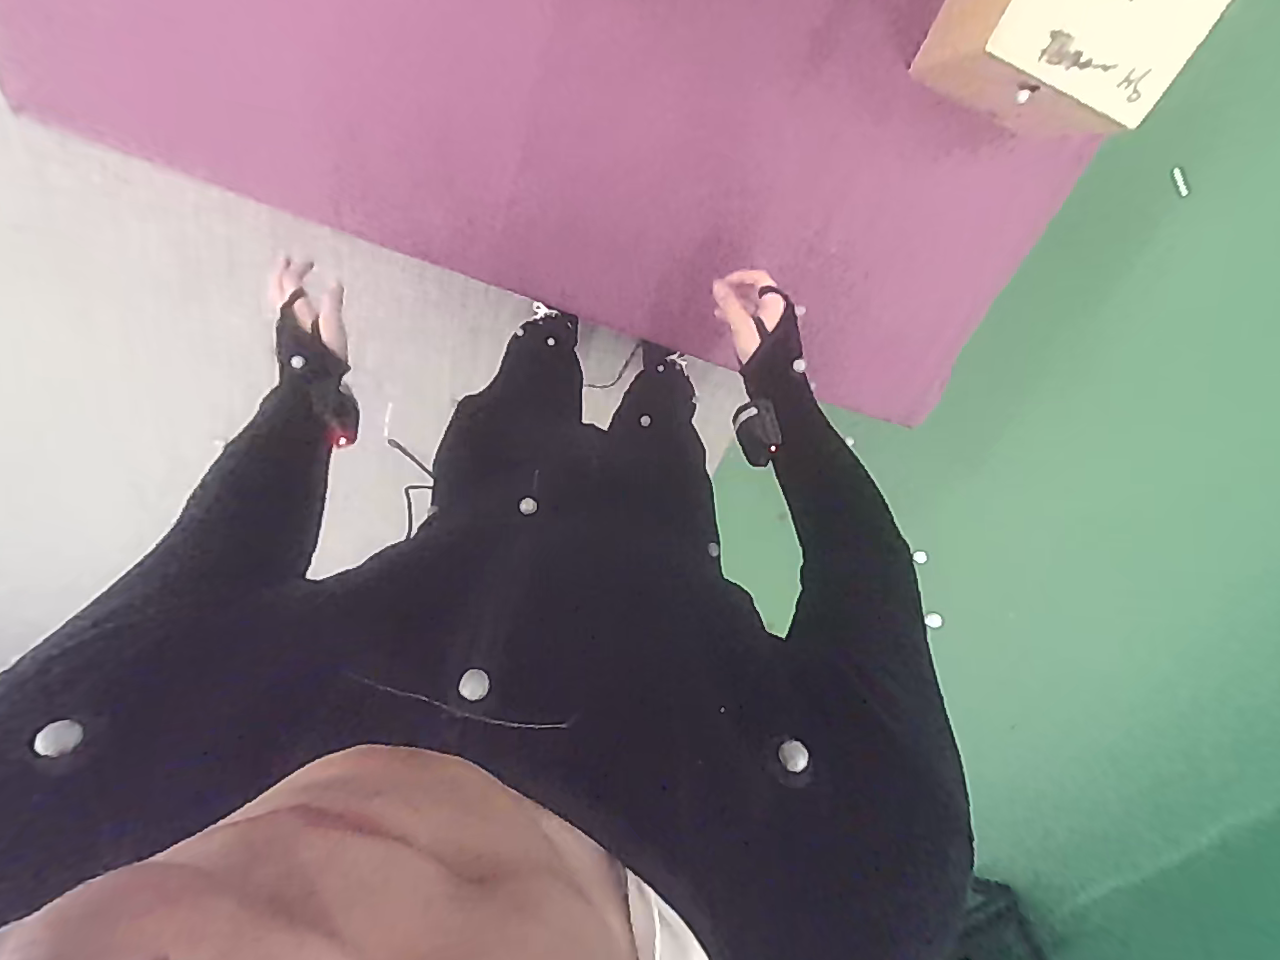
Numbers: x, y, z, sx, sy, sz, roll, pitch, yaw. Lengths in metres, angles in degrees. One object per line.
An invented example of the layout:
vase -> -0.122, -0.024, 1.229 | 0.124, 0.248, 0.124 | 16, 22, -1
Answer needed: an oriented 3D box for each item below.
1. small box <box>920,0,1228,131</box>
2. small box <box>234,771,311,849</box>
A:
small box -> 0.396, -0.448, 0.491 | 0.168, 0.176, 0.179 | 20, 119, -8
small box -> -1.278, 1.155, 1.880 | 0.168, 0.176, 0.179 | 23, 118, -10
